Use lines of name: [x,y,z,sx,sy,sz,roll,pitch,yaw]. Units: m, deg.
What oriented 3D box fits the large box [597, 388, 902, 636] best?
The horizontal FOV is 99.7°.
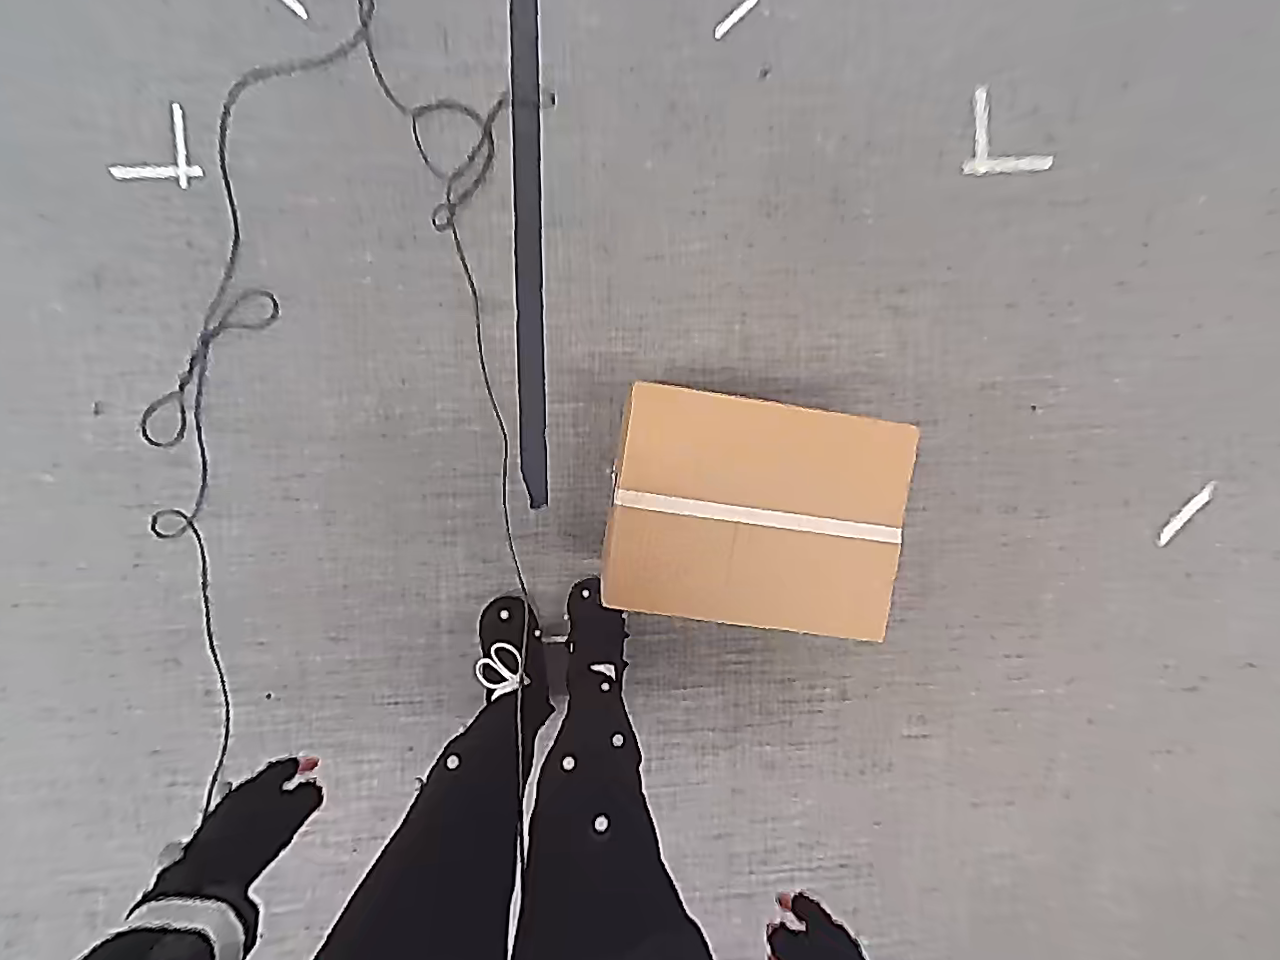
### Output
large box: [0.149,0.040,0.909,0.408,0.320,0.320,9,92,-4]
